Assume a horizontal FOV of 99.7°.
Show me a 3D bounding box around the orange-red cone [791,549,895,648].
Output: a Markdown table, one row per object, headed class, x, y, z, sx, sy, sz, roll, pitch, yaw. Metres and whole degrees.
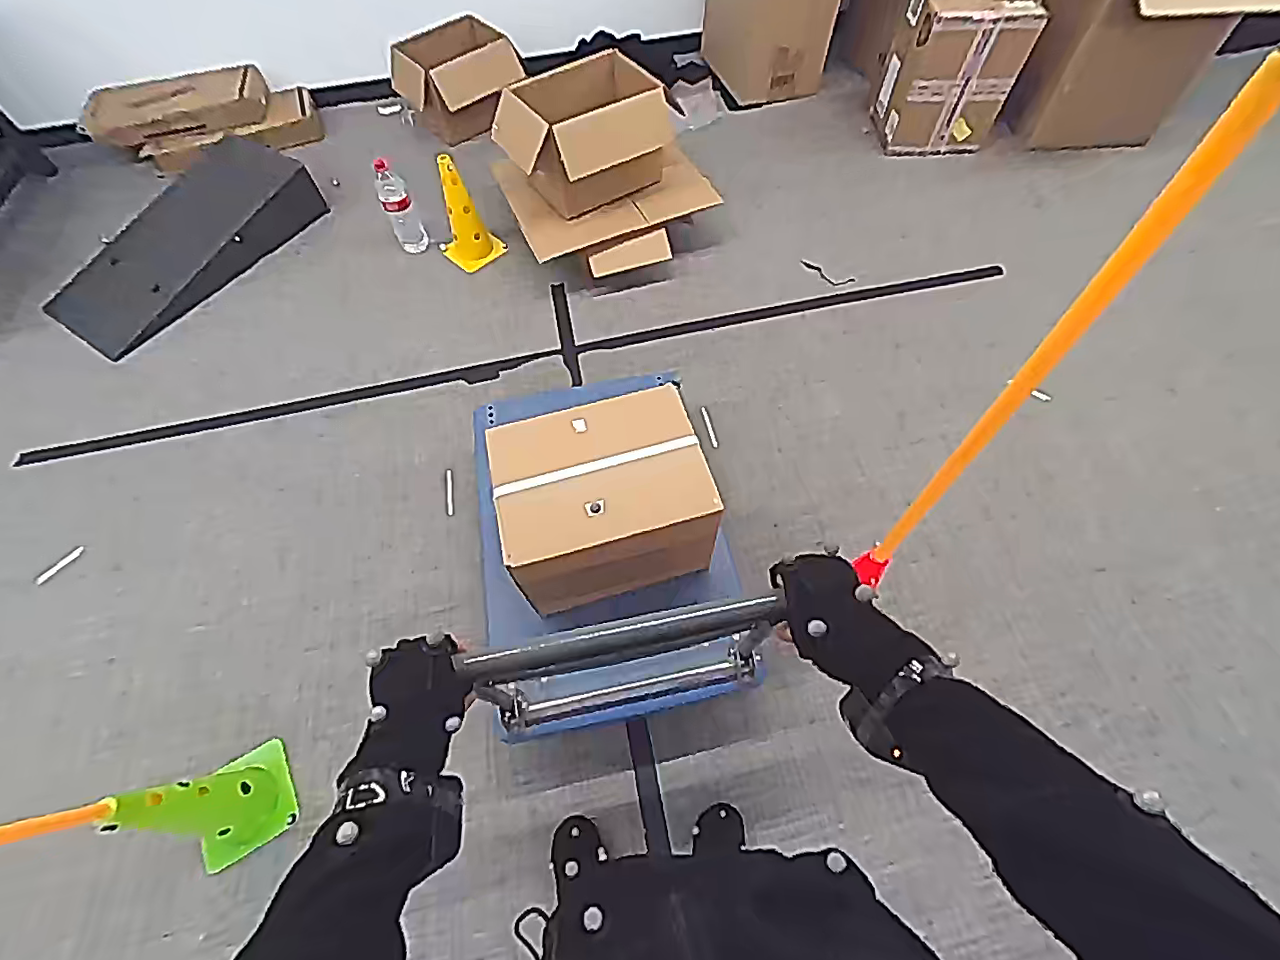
| class | x | y | z | sx | sy | sz | roll | pitch | yaw |
| --- | --- | --- | --- | --- | --- | --- | --- | --- | --- |
| orange-red cone | 0.489 | 0.236 | 1.215 | 0.199 | 0.360 | 0.198 | -5 | 61 | -2 |
